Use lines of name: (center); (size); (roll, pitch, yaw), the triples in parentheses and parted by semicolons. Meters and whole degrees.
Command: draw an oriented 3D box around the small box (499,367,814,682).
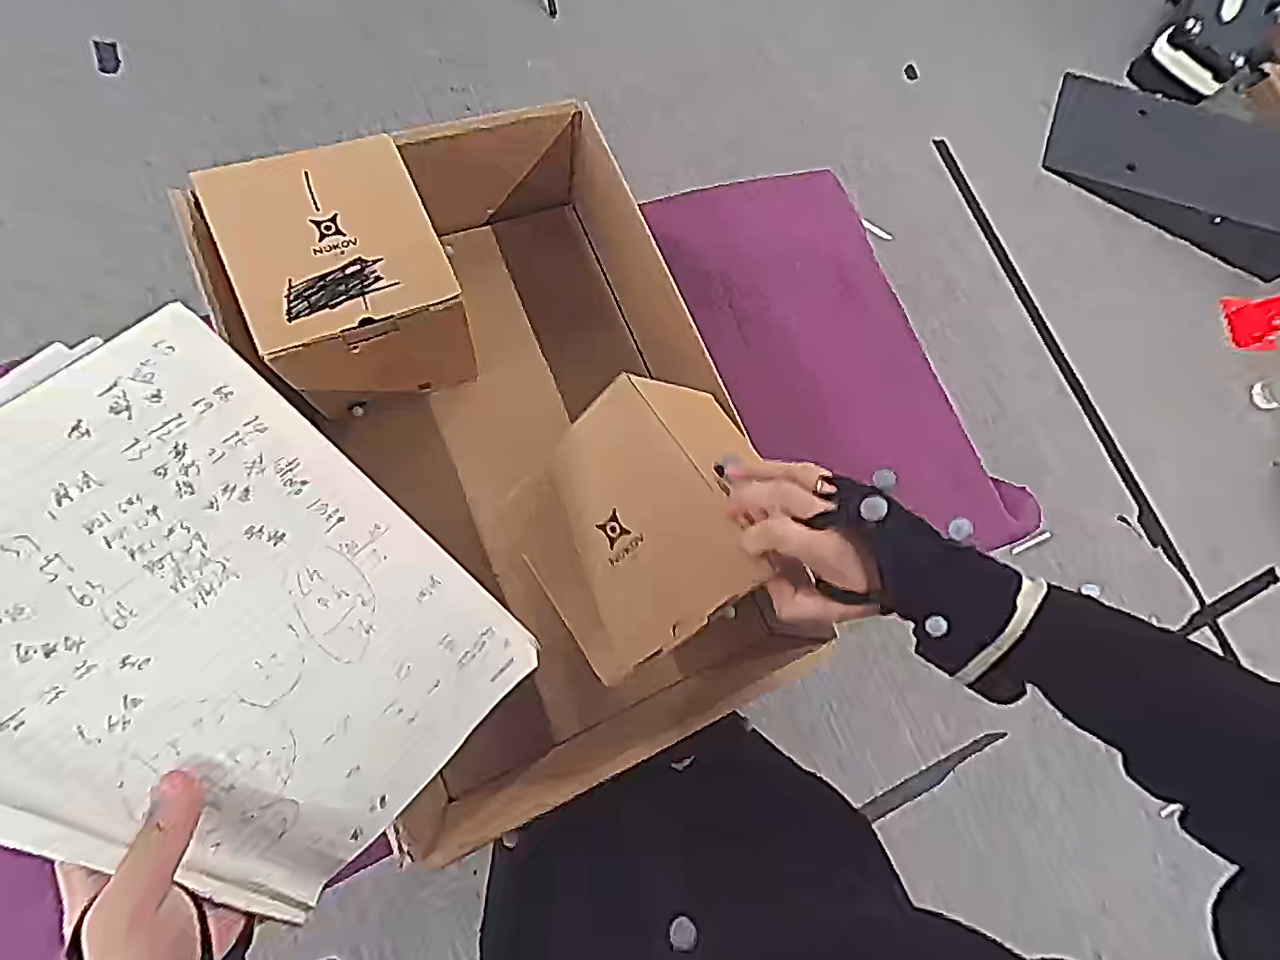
small box: (0.022, 0.032, 0.464); (0.168, 0.176, 0.179); (-43, 75, 22)
